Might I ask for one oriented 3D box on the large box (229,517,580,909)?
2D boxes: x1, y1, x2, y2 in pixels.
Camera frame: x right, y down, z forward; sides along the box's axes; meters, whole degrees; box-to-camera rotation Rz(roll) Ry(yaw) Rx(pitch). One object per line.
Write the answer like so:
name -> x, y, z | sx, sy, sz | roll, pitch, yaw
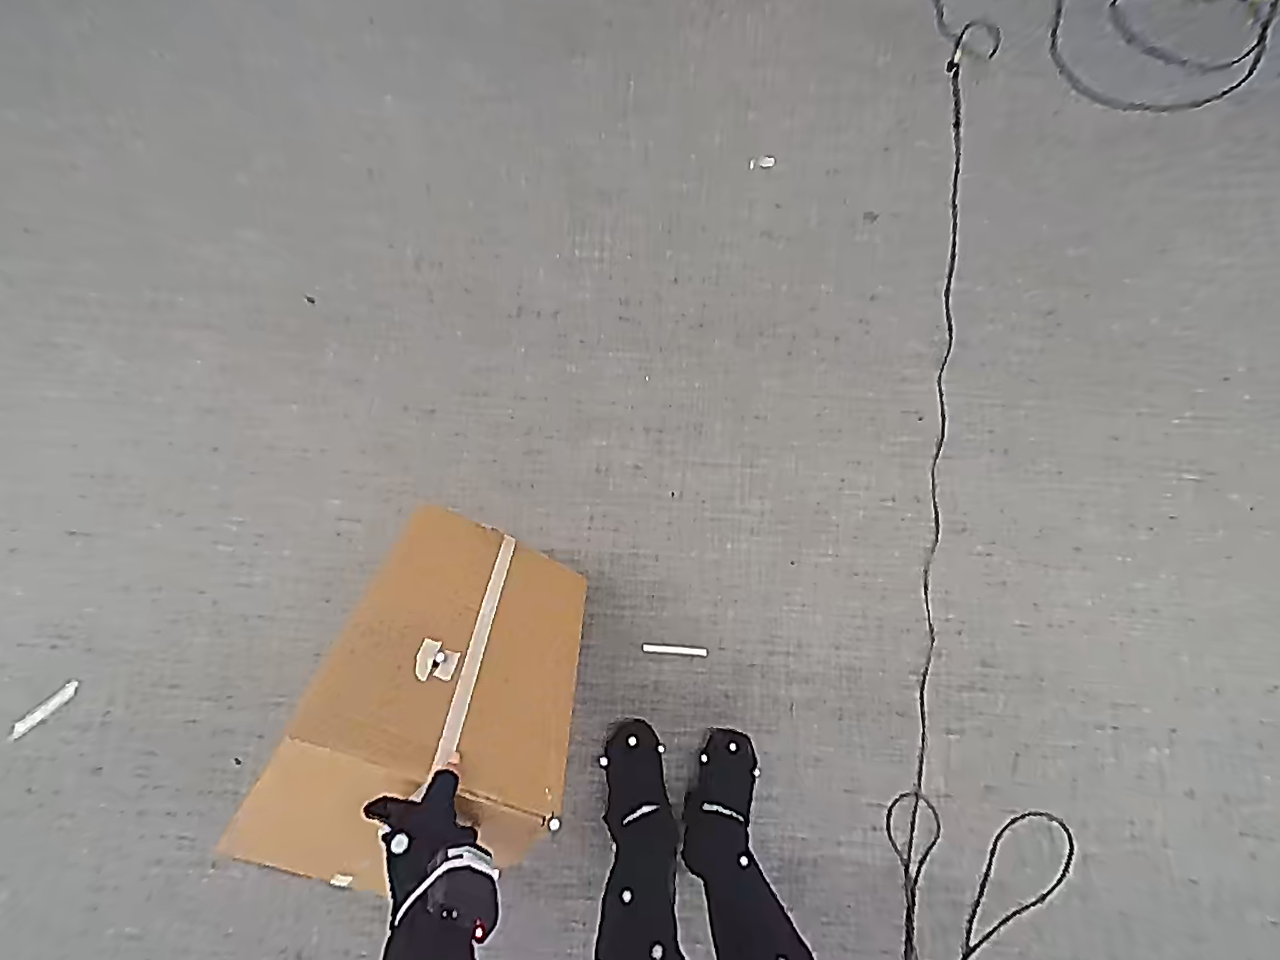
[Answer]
large box -> -0.317, 0.341, 0.829 | 0.320, 0.408, 0.320 | 31, 119, -19
